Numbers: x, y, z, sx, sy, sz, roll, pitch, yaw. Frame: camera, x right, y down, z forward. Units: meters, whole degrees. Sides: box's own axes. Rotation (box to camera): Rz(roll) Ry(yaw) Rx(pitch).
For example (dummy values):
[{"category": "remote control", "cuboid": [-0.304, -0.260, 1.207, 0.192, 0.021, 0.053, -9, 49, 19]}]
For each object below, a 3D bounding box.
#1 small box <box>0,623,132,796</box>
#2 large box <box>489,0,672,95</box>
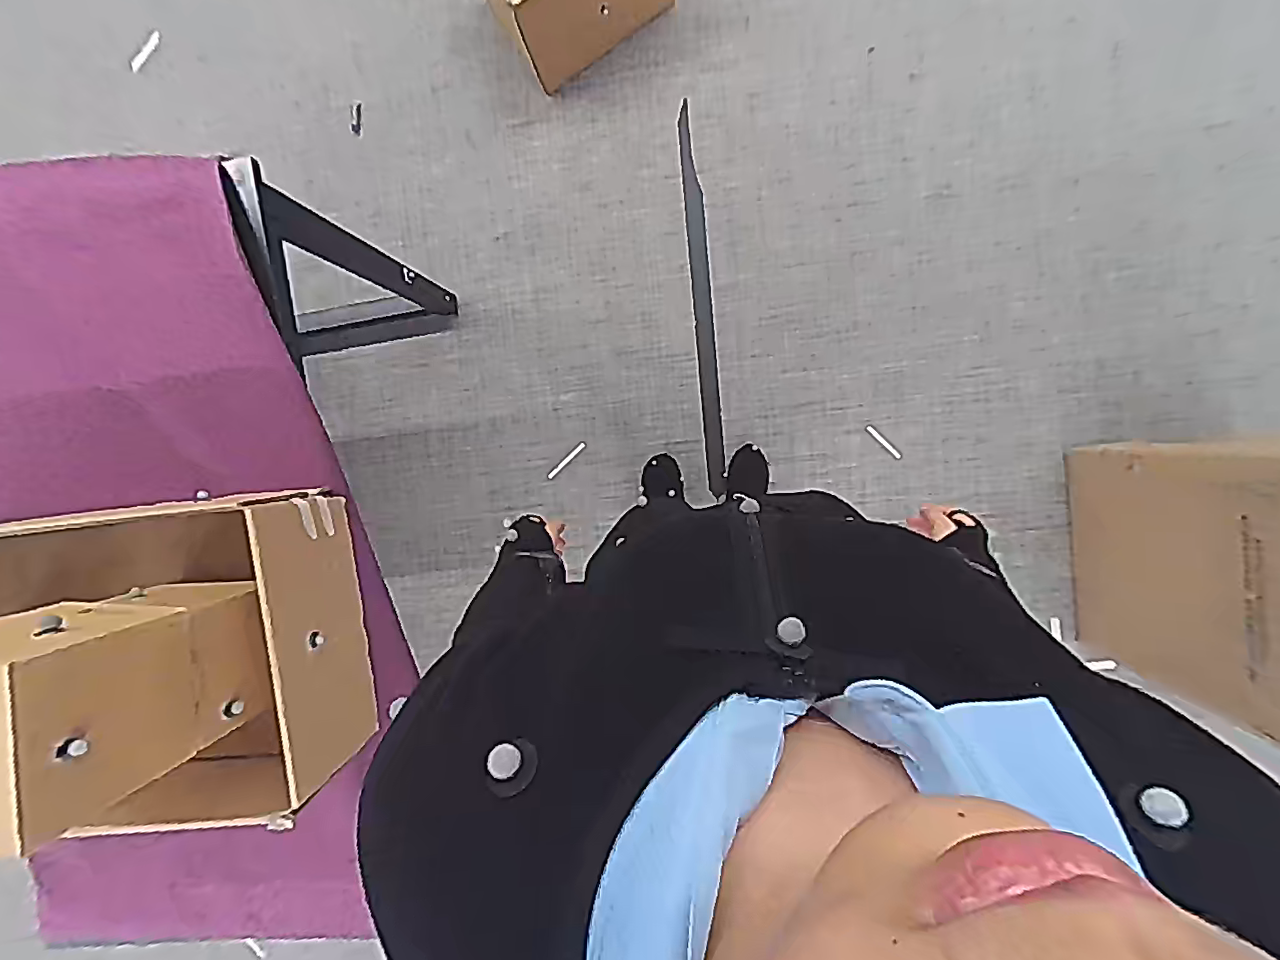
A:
[{"category": "small box", "cuboid": [-0.849, 0.302, 0.728, 0.168, 0.176, 0.179, -10, 92, 5]}, {"category": "large box", "cuboid": [-0.167, -1.239, 1.267, 0.408, 0.320, 0.320, -33, 90, 8]}]
